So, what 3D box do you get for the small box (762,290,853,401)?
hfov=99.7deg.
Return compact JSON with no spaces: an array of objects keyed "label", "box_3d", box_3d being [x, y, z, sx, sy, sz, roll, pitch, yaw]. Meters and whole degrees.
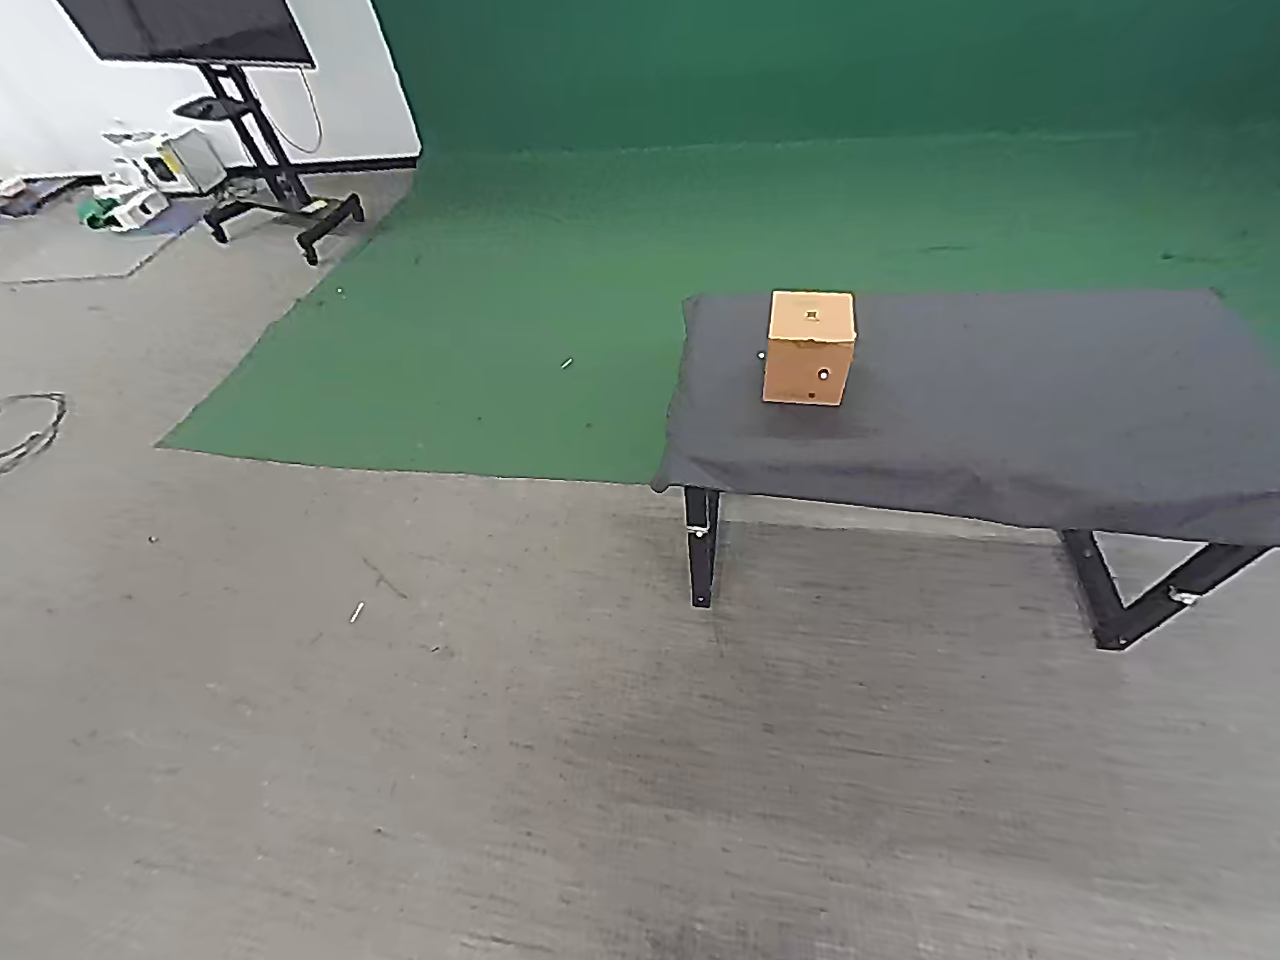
[{"label":"small box","box_3d":[0.359,-0.290,1.176,0.168,0.176,0.179,6,51,10]}]
